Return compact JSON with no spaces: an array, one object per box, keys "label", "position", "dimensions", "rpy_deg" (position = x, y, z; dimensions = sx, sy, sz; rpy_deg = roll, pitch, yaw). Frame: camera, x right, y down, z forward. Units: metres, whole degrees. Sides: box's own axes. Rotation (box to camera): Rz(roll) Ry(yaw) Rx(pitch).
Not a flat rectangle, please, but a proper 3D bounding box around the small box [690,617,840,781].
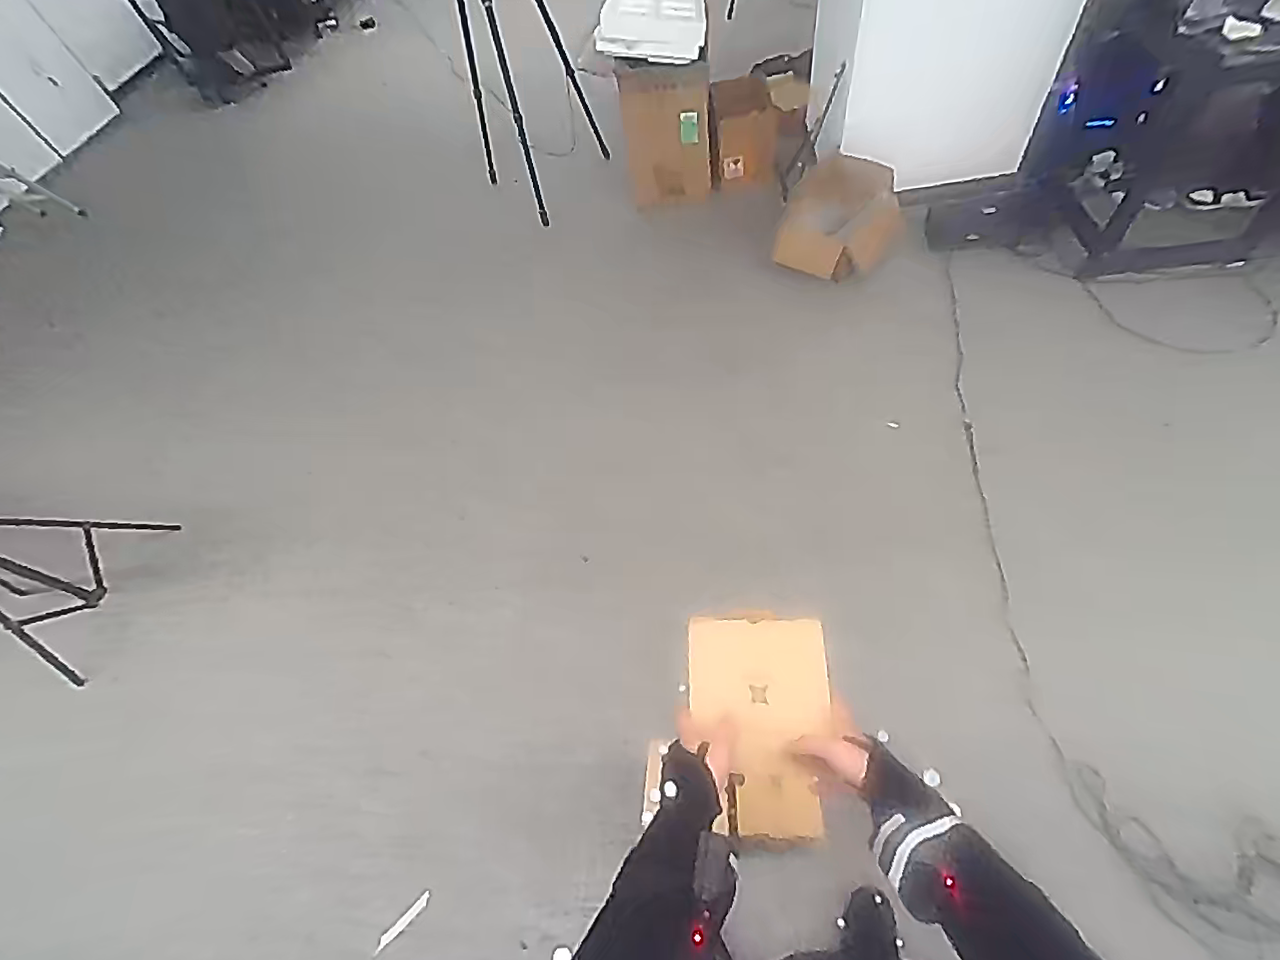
[{"label":"small box","position":[0.149,0.288,0.706],"dimensions":[0.168,0.176,0.179],"rpy_deg":[0,63,6]}]
